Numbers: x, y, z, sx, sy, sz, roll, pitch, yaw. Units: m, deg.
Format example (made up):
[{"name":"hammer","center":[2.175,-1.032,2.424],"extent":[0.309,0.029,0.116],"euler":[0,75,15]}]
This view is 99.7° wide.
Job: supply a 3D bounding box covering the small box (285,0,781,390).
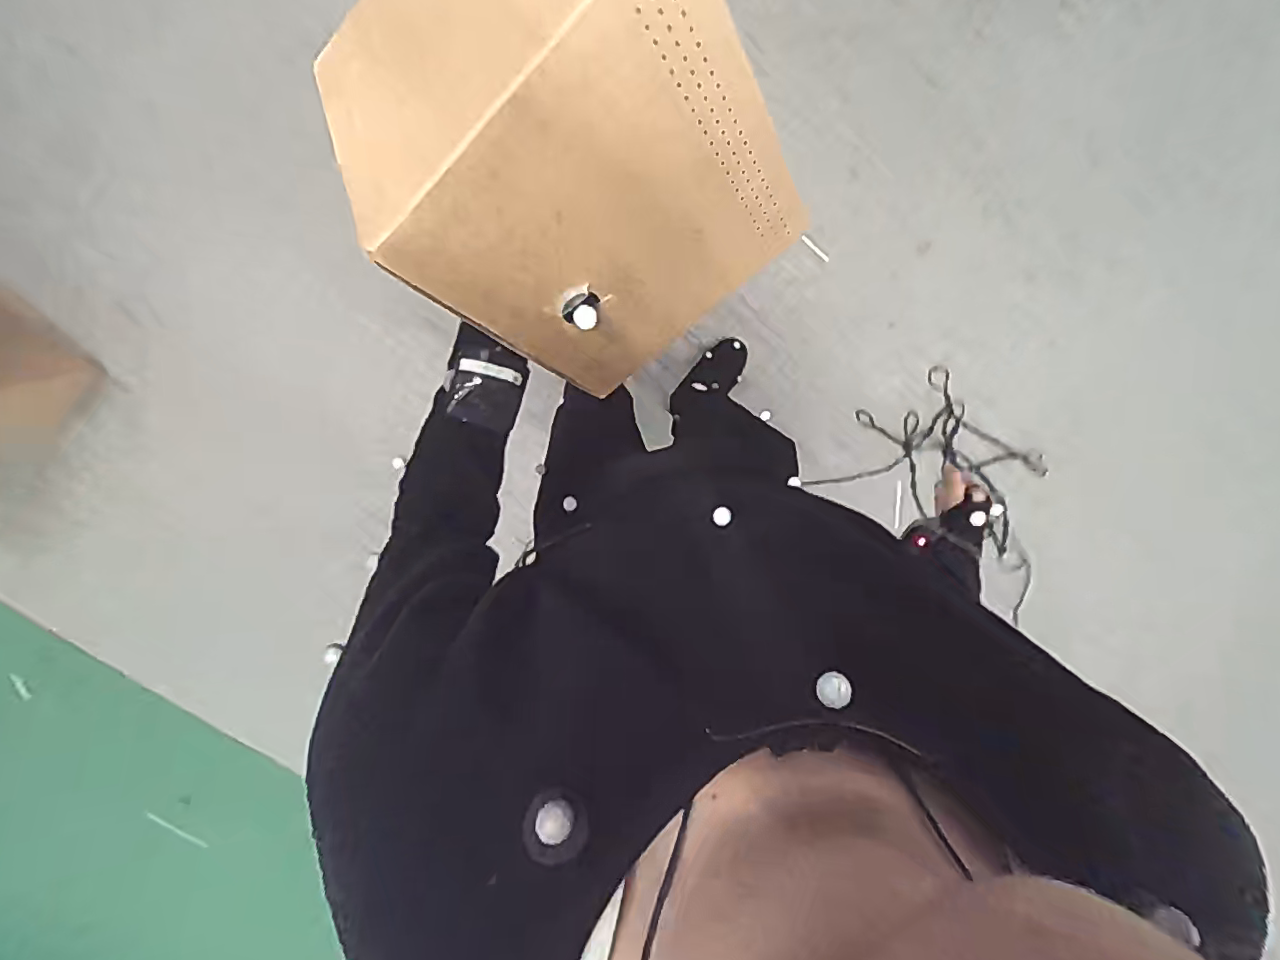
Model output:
[{"name":"small box","center":[-0.050,-0.184,0.292],"extent":[0.176,0.179,0.168],"euler":[-37,62,20]}]
